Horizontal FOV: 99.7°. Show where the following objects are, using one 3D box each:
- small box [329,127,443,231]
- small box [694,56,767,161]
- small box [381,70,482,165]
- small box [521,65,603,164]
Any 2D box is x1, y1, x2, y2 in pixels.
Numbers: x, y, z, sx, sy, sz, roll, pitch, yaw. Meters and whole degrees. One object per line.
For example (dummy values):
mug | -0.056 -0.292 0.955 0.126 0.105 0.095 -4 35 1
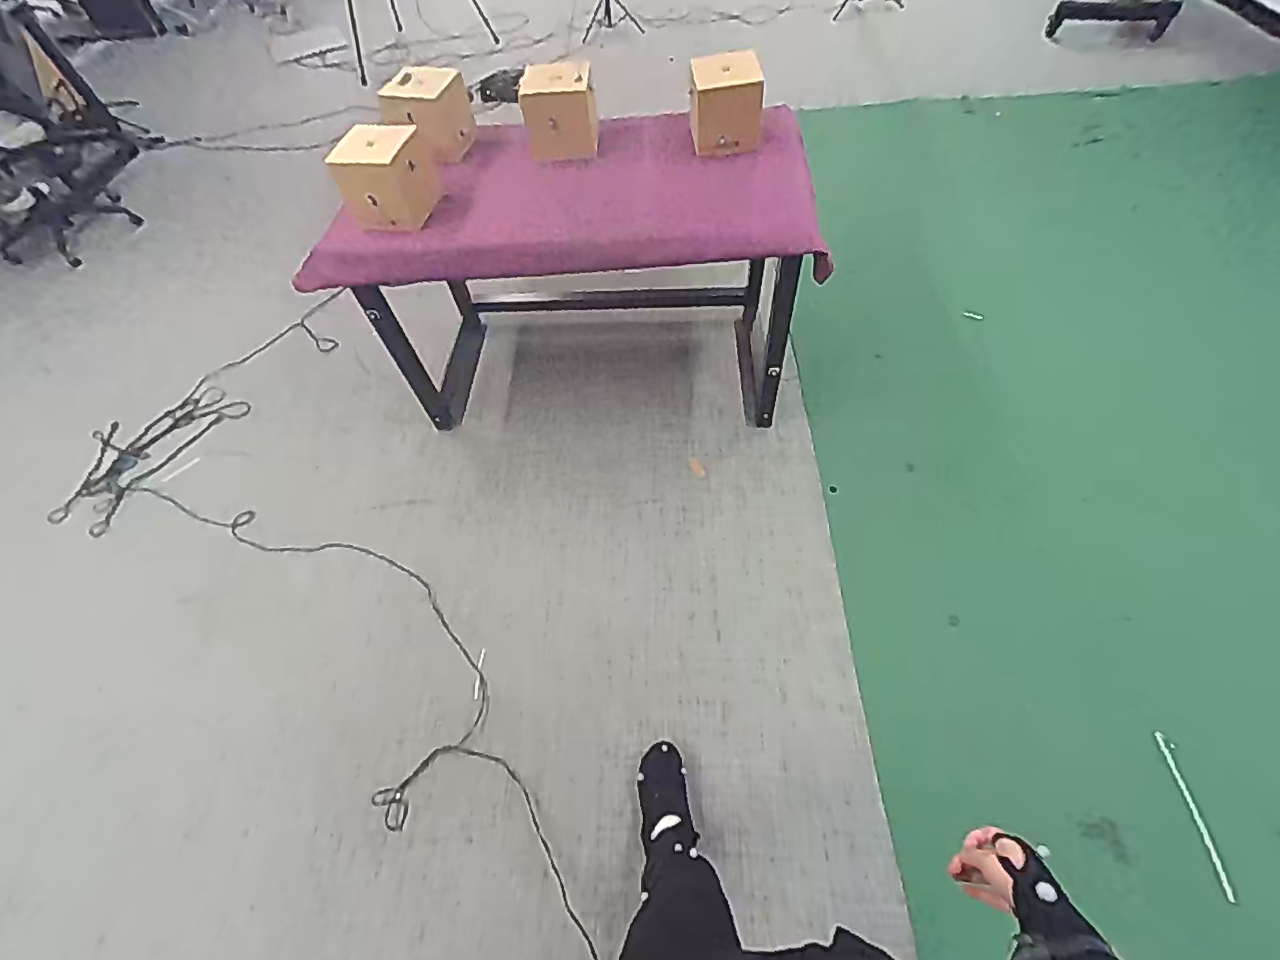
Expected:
small box | -0.610 -0.737 1.330 0.168 0.176 0.179 7 57 8
small box | 0.229 -0.967 1.413 0.168 0.176 0.179 -5 58 3
small box | -0.569 -1.004 1.502 0.179 0.176 0.168 11 59 10
small box | -0.202 -0.979 1.458 0.179 0.176 0.168 -1 59 5
